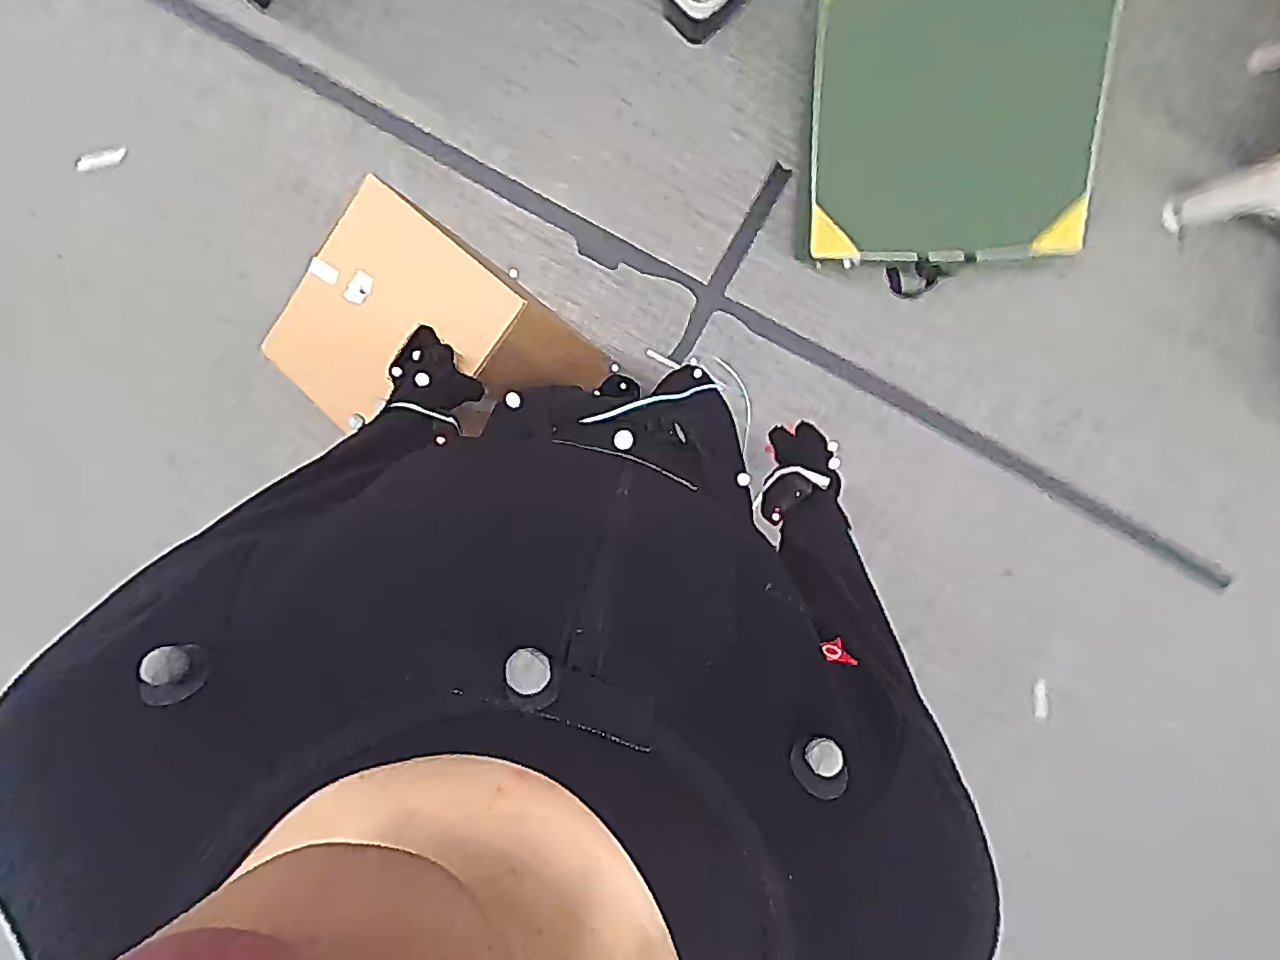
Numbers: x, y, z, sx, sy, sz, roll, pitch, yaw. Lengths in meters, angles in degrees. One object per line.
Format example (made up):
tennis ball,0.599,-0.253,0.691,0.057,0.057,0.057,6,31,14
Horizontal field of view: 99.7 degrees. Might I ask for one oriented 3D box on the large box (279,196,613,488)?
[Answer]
large box,-0.307,-0.210,0.958,0.320,0.408,0.320,41,101,9
